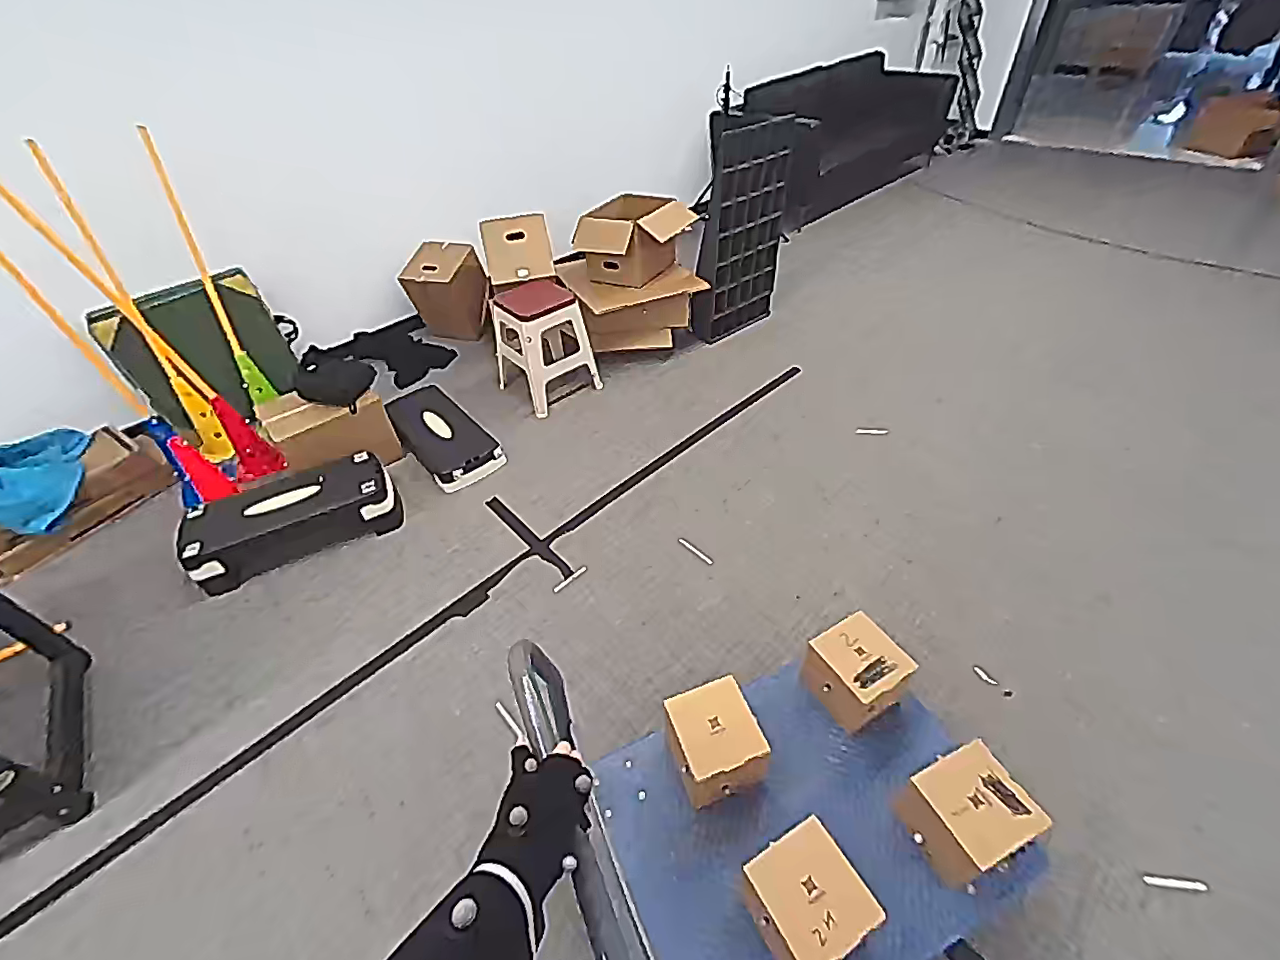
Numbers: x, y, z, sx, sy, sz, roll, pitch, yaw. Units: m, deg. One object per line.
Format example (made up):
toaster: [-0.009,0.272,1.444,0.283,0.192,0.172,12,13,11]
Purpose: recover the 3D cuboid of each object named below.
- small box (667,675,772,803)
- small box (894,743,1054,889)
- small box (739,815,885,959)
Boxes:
small box: [0.162,0.561,1.173,0.168,0.176,0.179,-15,46,-13]
small box: [0.629,0.649,1.045,0.179,0.176,0.168,-19,45,-14]
small box: [0.292,0.749,0.964,0.168,0.176,0.179,-22,46,-18]
